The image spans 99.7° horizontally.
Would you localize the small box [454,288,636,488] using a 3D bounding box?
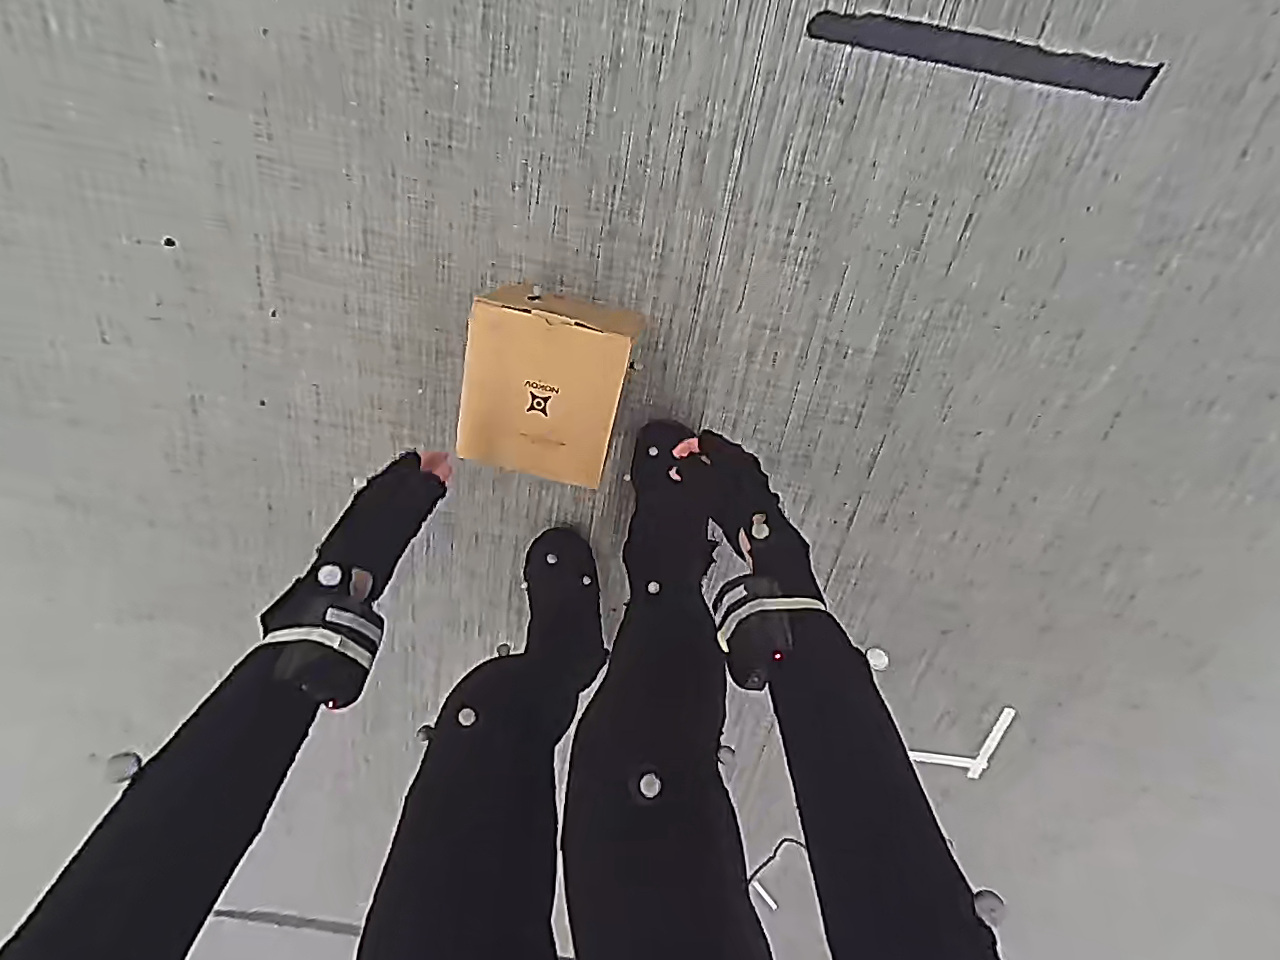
[{"bbox_3d":[-0.103,-0.118,0.638,0.168,0.176,0.179,13,115,-2],"label":"small box"}]
